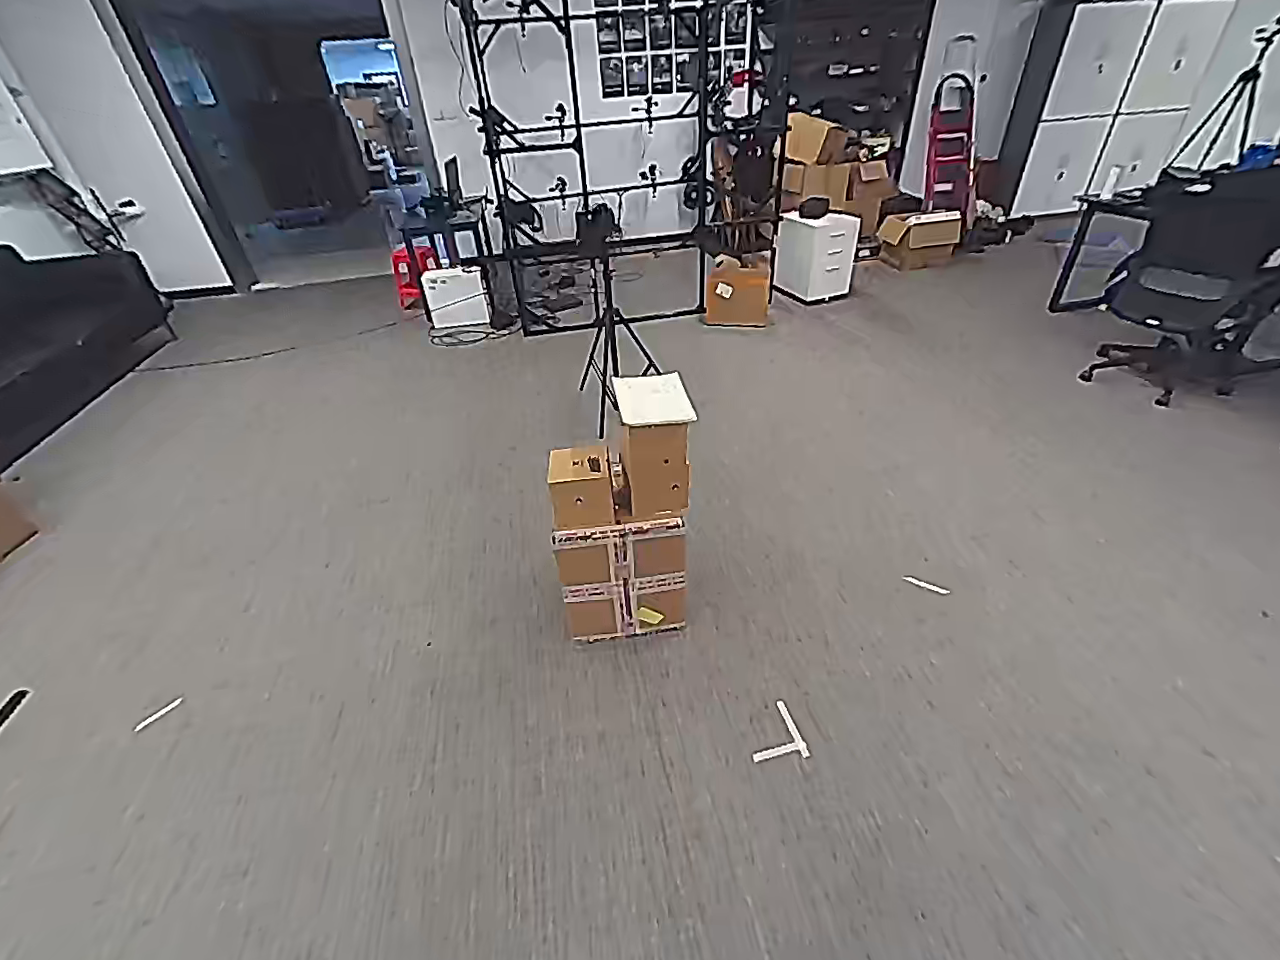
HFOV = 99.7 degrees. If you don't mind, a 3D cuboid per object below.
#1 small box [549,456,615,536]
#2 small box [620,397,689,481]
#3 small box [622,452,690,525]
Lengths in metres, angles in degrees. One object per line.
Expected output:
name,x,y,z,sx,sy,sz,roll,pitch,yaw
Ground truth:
small box,-0.168,0.049,1.615,0.179,0.176,0.168,-6,38,-1
small box,0.037,-0.118,1.548,0.168,0.176,0.179,-8,37,-8
small box,0.045,0.016,1.640,0.179,0.176,0.168,-9,38,-9
